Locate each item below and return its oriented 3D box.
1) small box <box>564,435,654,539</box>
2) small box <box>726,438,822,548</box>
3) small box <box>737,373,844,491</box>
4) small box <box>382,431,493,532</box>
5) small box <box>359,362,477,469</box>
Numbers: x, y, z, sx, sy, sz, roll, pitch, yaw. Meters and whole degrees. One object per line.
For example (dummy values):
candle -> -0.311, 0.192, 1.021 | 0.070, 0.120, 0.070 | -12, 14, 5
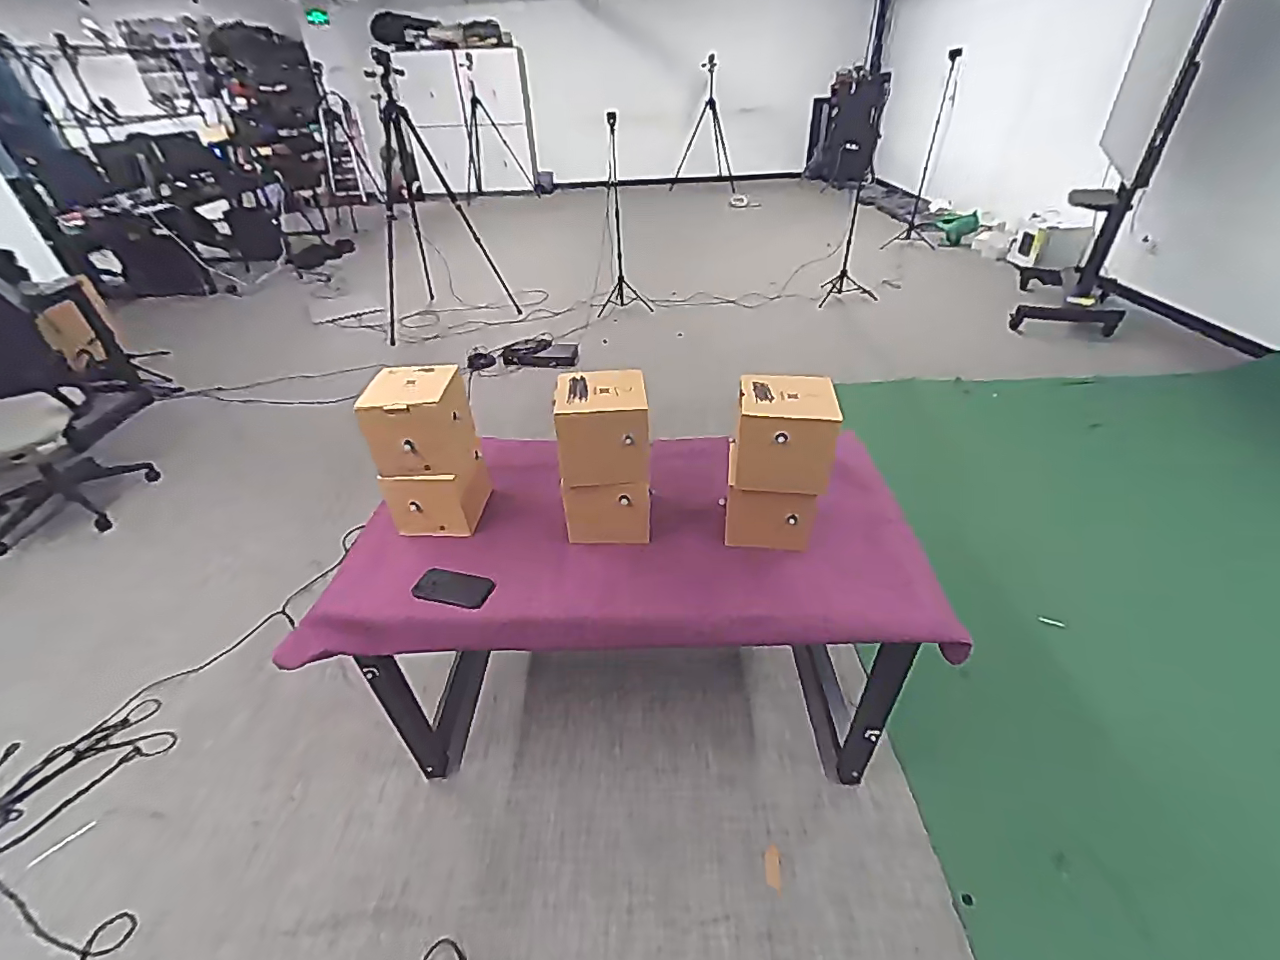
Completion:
small box -> -0.060, 0.017, 1.189 | 0.179, 0.176, 0.168 | 0, 37, 4
small box -> 0.280, 0.028, 1.157 | 0.179, 0.176, 0.168 | 4, 37, 9
small box -> 0.281, -0.093, 1.046 | 0.179, 0.176, 0.168 | 4, 37, 8
small box -> -0.448, 0.003, 1.232 | 0.168, 0.176, 0.179 | 1, 37, 4
small box -> -0.454, -0.132, 1.139 | 0.168, 0.176, 0.179 | -2, 38, 0
